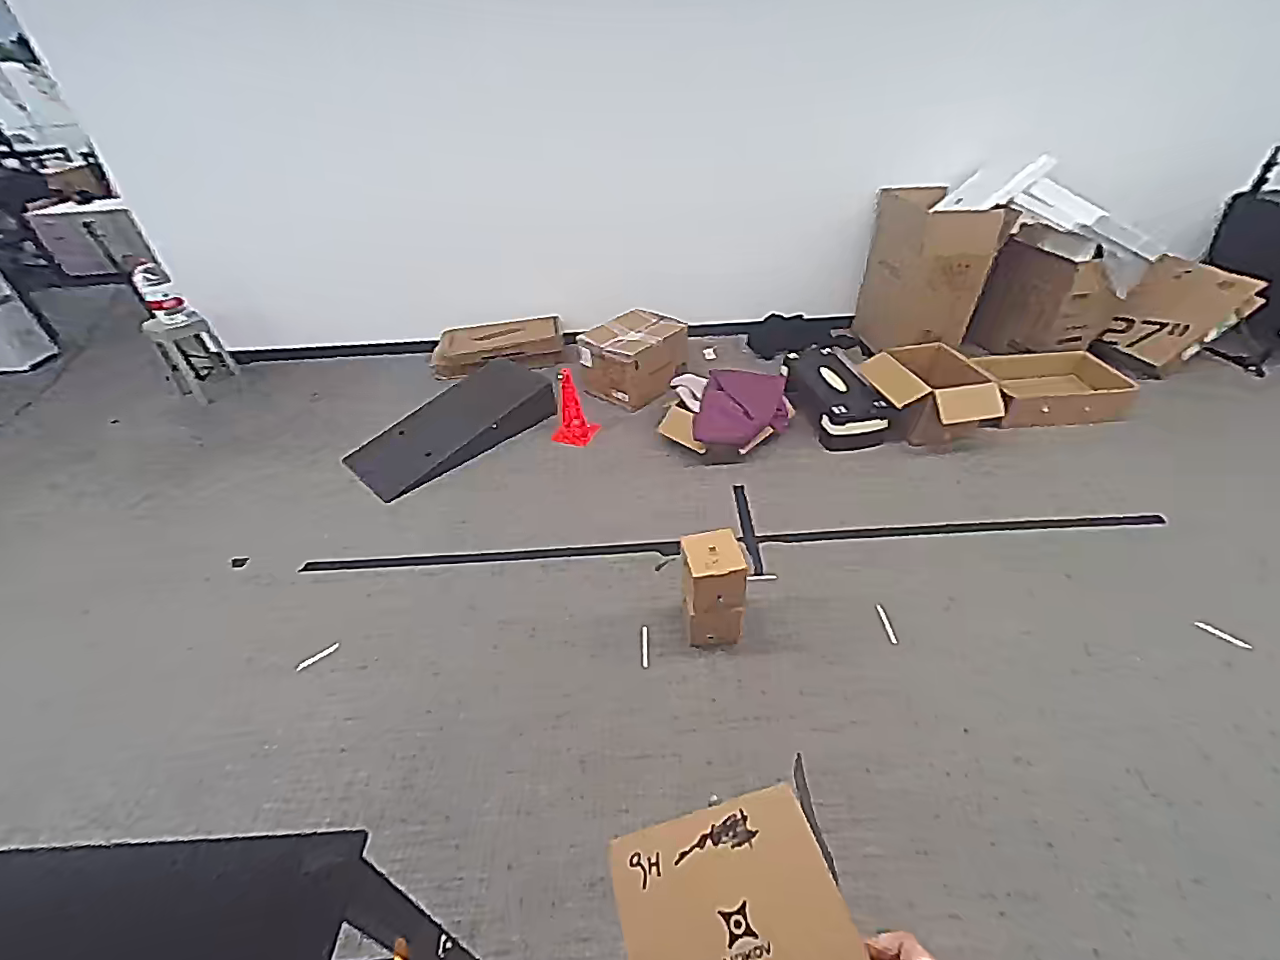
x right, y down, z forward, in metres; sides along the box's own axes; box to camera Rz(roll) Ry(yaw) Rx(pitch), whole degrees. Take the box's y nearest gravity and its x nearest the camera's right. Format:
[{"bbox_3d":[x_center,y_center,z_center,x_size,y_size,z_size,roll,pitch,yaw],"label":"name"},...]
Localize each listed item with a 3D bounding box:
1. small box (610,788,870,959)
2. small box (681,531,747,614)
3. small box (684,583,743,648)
[{"bbox_3d":[0.081,0.392,0.441,0.168,0.176,0.179,-13,43,-9],"label":"small box"},{"bbox_3d":[0.225,0.286,1.676,0.168,0.176,0.179,-9,39,-4],"label":"small box"},{"bbox_3d":[0.233,0.424,1.768,0.168,0.176,0.179,-6,40,-1],"label":"small box"}]
